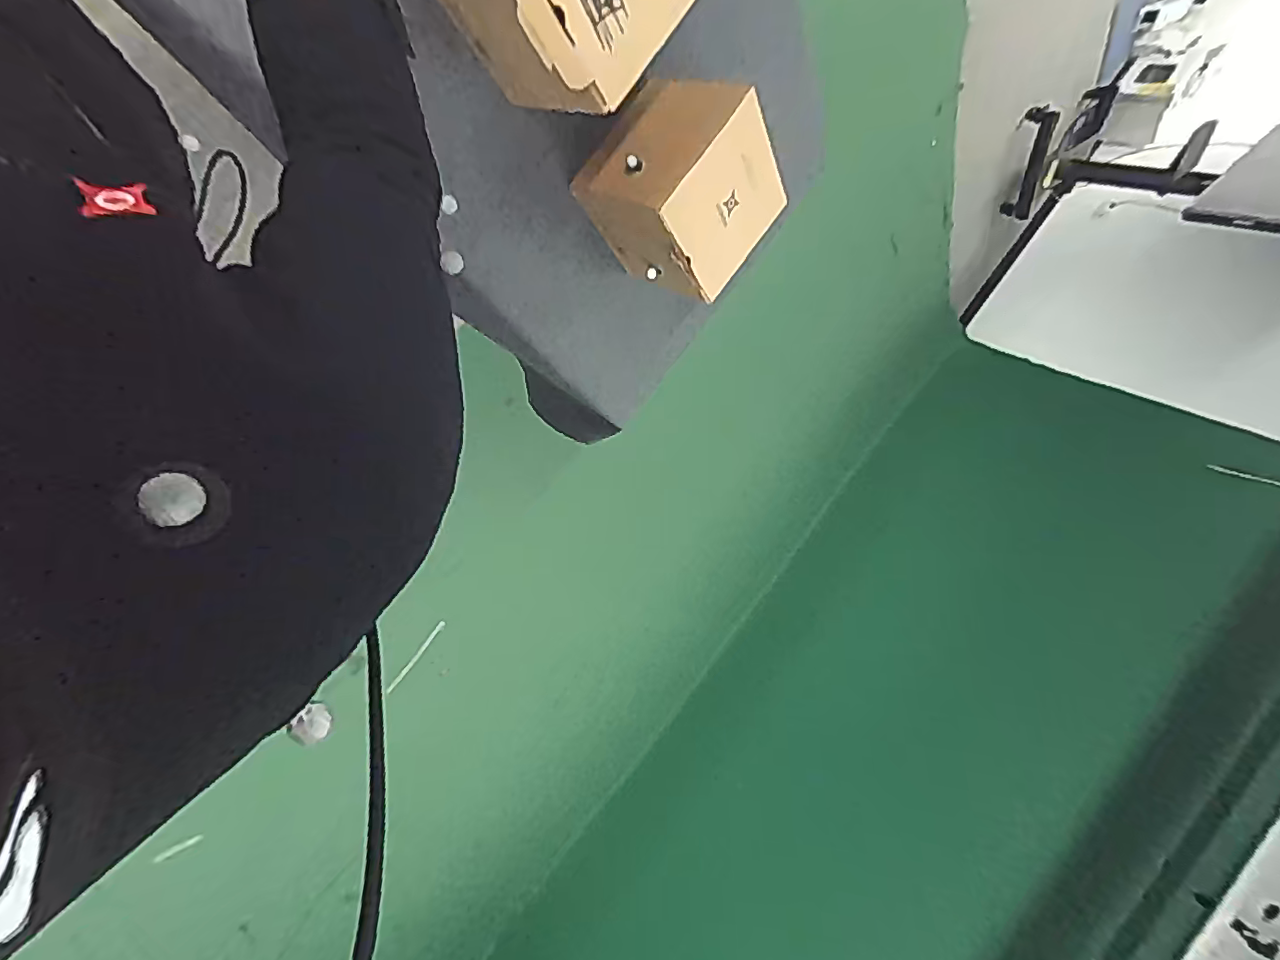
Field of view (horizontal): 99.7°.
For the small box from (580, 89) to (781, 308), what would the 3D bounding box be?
[{"bbox_3d":[0.047,-0.359,0.693,0.179,0.176,0.168,-55,146,-2],"label":"small box"}]
